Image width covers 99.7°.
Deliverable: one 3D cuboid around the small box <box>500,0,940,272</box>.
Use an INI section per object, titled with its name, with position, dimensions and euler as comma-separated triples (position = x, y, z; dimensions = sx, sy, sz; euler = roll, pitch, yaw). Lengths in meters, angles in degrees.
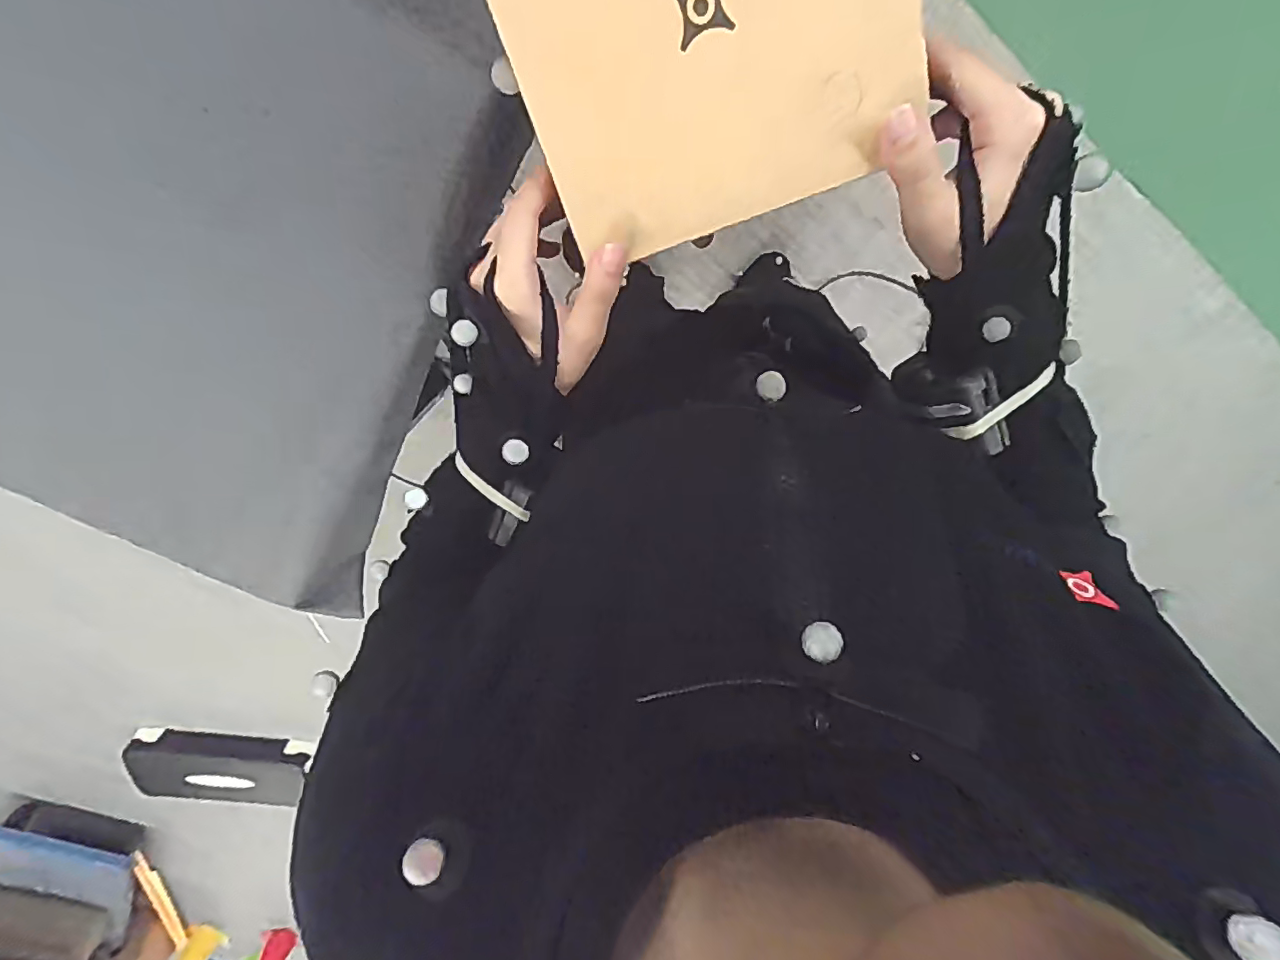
[small box]
position = 0.033, -0.235, 0.281
dimensions = 0.168, 0.176, 0.179
euler = -15, 119, 12
